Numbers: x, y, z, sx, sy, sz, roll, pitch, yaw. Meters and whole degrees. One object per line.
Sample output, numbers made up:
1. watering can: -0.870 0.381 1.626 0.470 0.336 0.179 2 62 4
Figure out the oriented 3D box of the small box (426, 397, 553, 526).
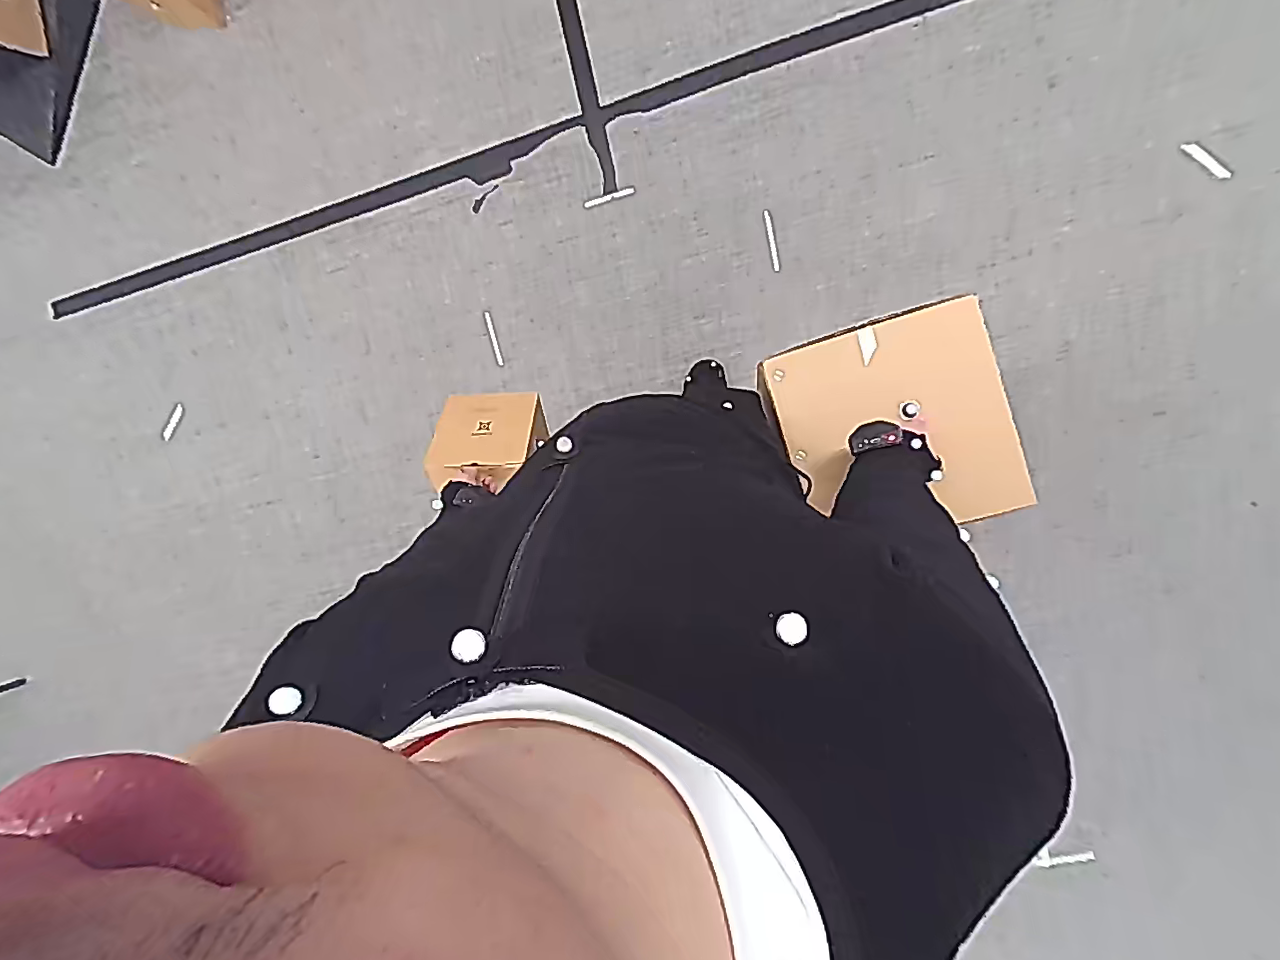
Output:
1. small box: -0.259 -0.028 0.979 0.168 0.179 0.176 -1 140 3
